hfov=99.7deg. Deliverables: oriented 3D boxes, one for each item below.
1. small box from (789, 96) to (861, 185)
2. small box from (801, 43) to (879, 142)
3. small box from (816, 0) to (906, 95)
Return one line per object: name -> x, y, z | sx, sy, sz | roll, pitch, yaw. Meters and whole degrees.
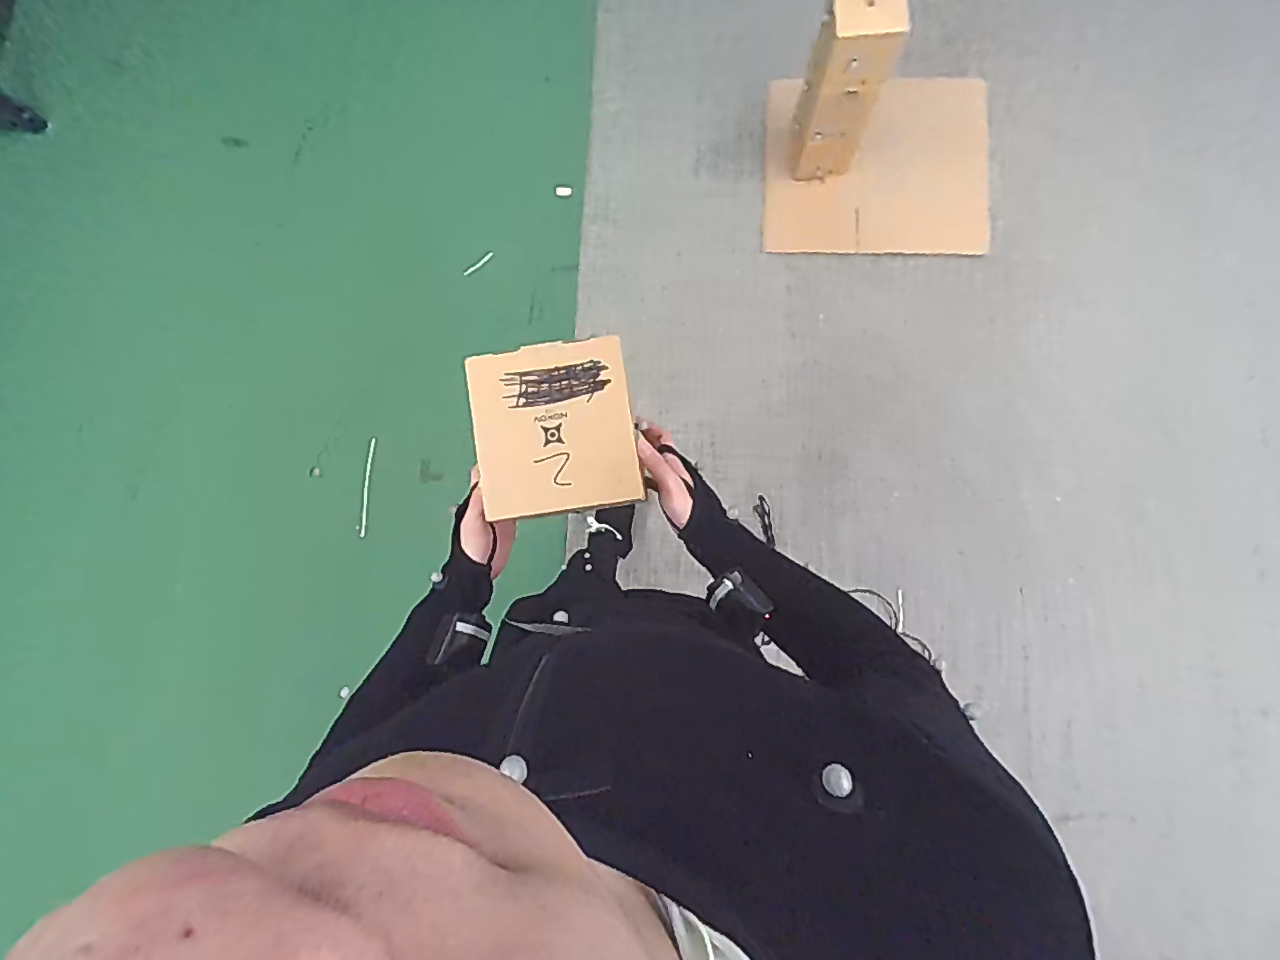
small box -> 0.563, -1.050, 1.665 | 0.168, 0.176, 0.179 | -5, 82, 4
small box -> 0.549, -1.071, 1.503 | 0.168, 0.176, 0.179 | -2, 81, 5
small box -> 0.541, -1.094, 1.343 | 0.168, 0.176, 0.179 | -1, 82, 5
